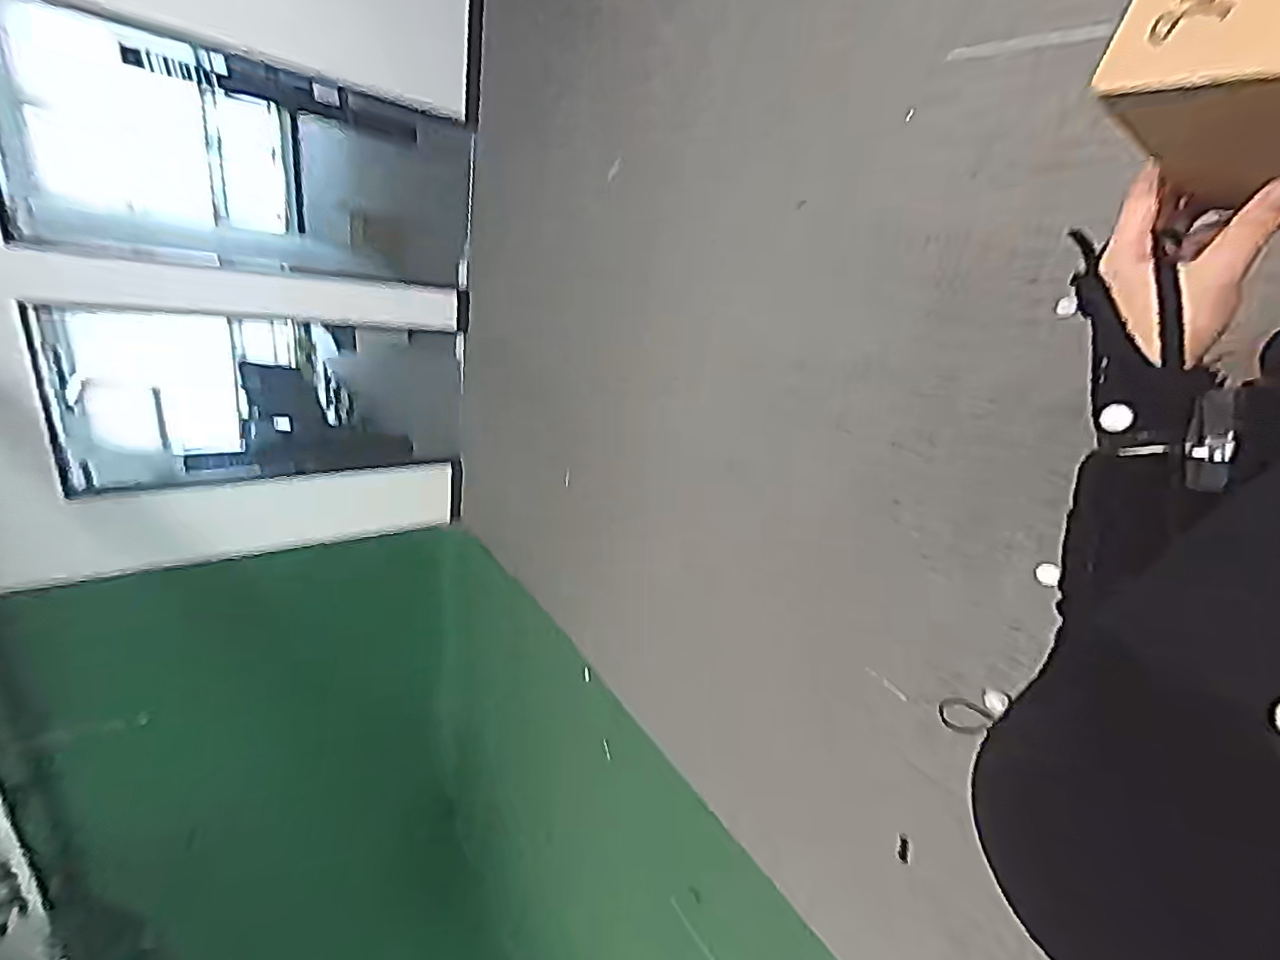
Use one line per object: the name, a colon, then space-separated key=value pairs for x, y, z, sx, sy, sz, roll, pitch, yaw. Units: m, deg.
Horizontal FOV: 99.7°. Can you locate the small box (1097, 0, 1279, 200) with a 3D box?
small box: x=0.336 y=-0.208 z=0.193 sx=0.179 sy=0.176 sz=0.168 roll=48 pitch=125 yaw=48
